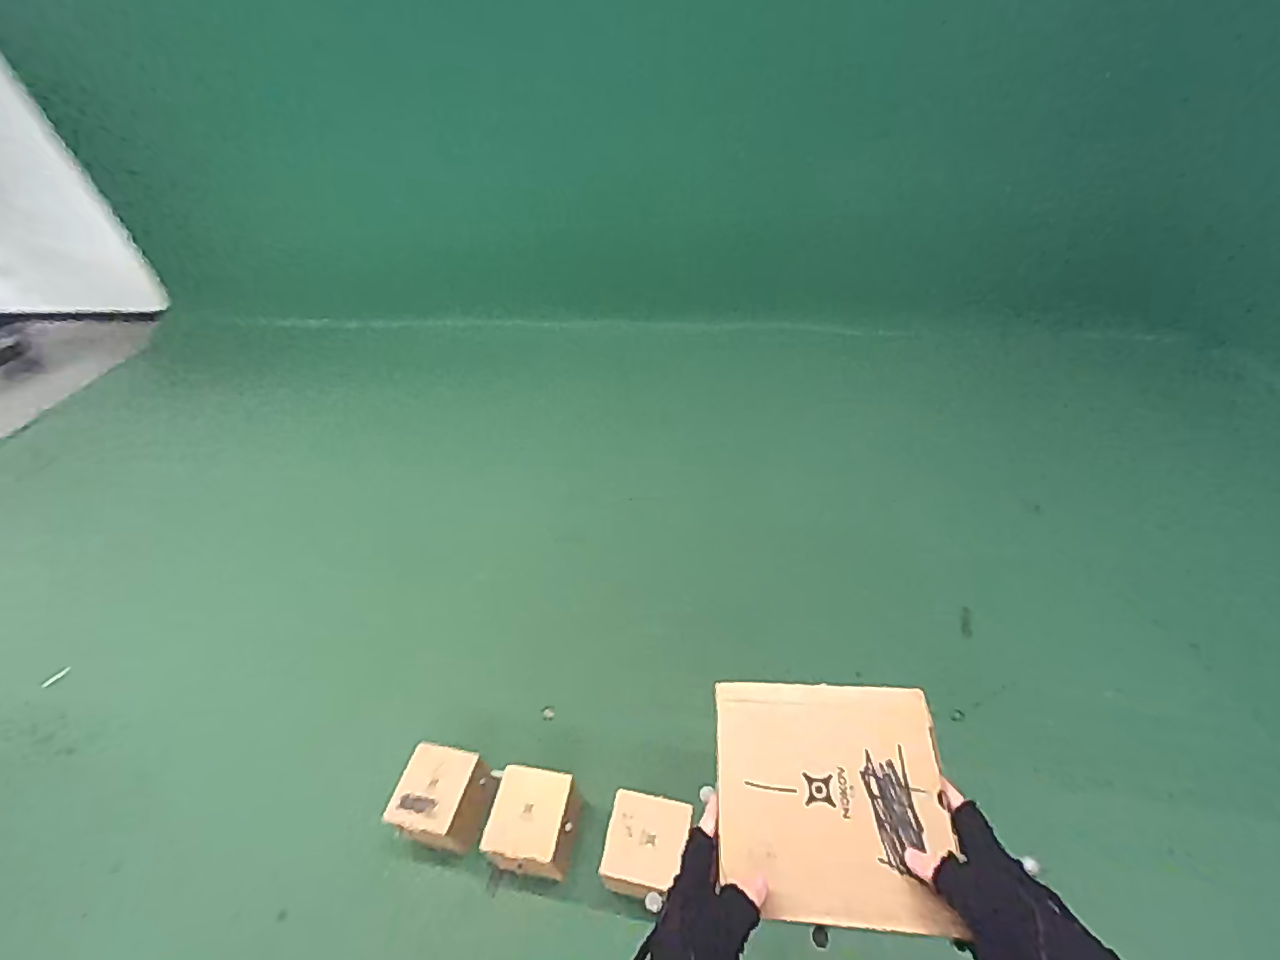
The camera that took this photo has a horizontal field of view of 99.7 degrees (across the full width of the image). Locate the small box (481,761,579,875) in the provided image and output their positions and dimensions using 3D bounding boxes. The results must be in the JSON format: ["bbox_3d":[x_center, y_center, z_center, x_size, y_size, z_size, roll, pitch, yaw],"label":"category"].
[{"bbox_3d":[-0.248,0.797,1.275,0.168,0.176,0.179,5,45,11],"label":"small box"}]

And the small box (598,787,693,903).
[{"bbox_3d":[0.019,0.823,1.215,0.179,0.176,0.168,7,45,13],"label":"small box"}]
